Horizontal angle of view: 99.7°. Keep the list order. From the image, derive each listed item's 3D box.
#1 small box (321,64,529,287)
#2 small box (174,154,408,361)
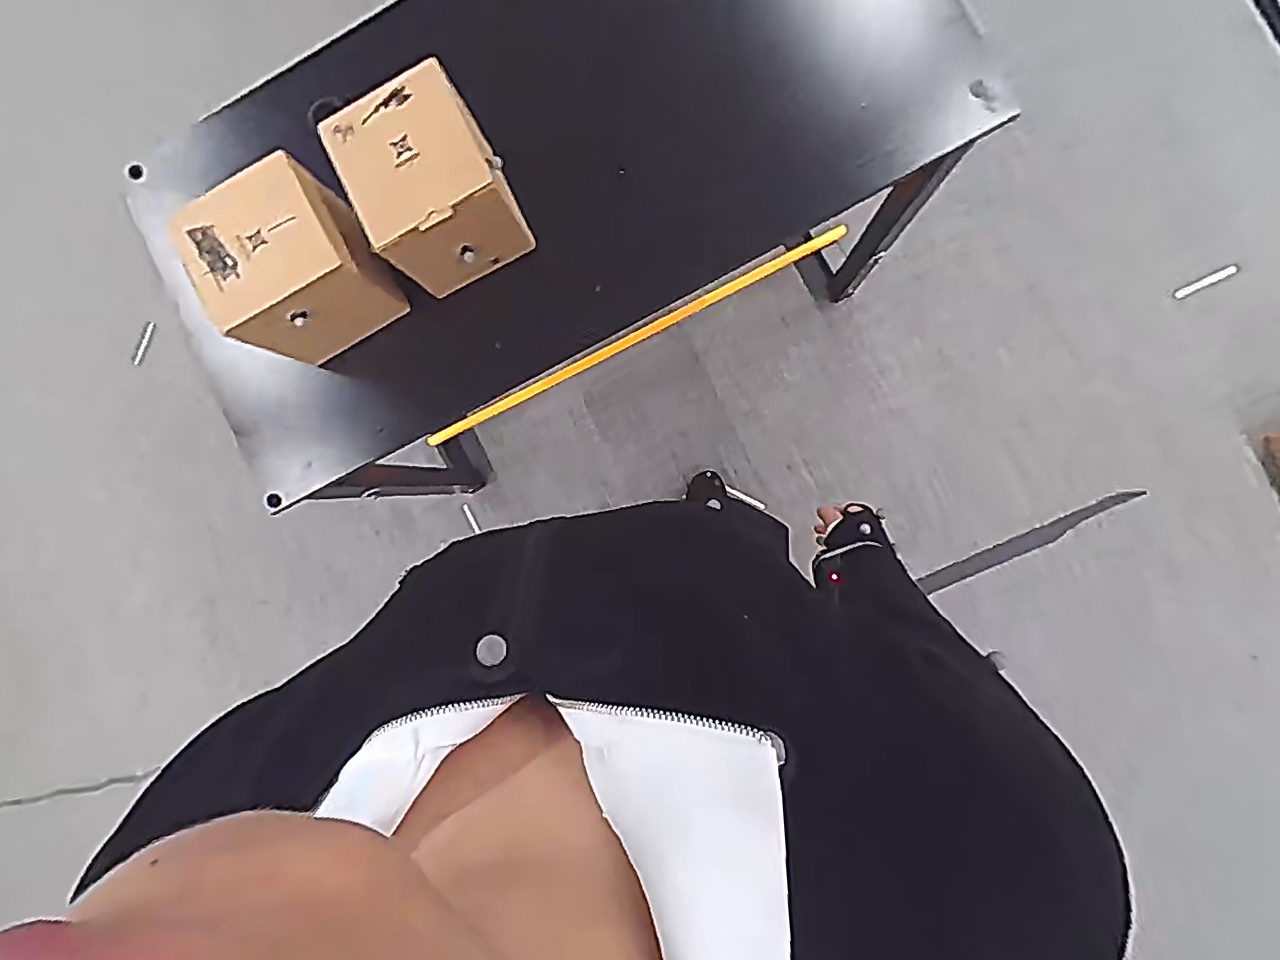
[{"bbox_3d":[-0.271,-0.383,0.724,0.168,0.176,0.179,-26,87,3],"label":"small box"},{"bbox_3d":[-0.461,-0.287,0.741,0.179,0.176,0.168,-29,87,3],"label":"small box"}]
